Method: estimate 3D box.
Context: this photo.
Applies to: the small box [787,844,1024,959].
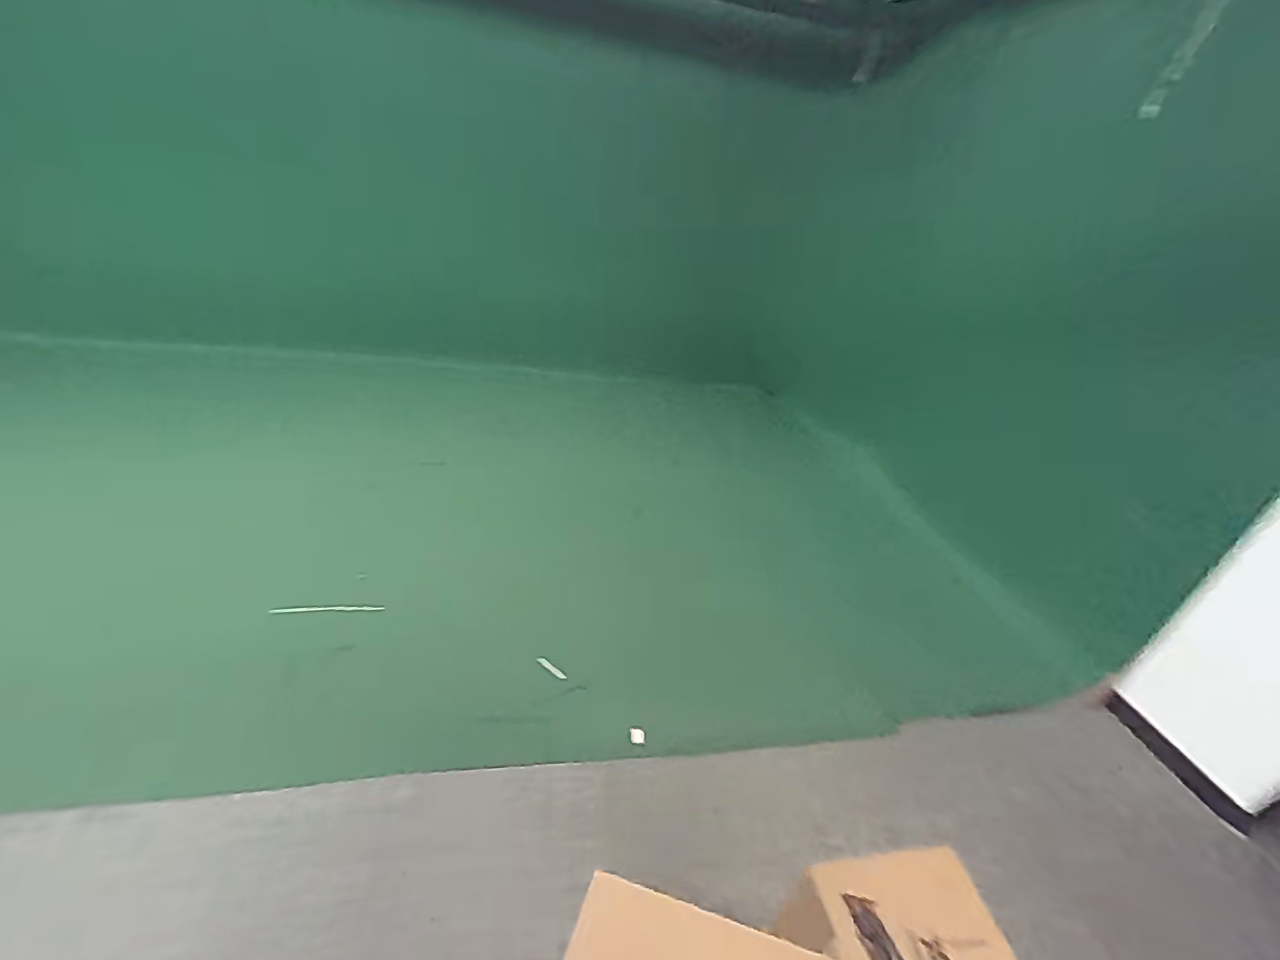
[{"bbox_3d":[0.268,0.513,0.557,0.179,0.176,0.168,1,34,-13],"label":"small box"}]
